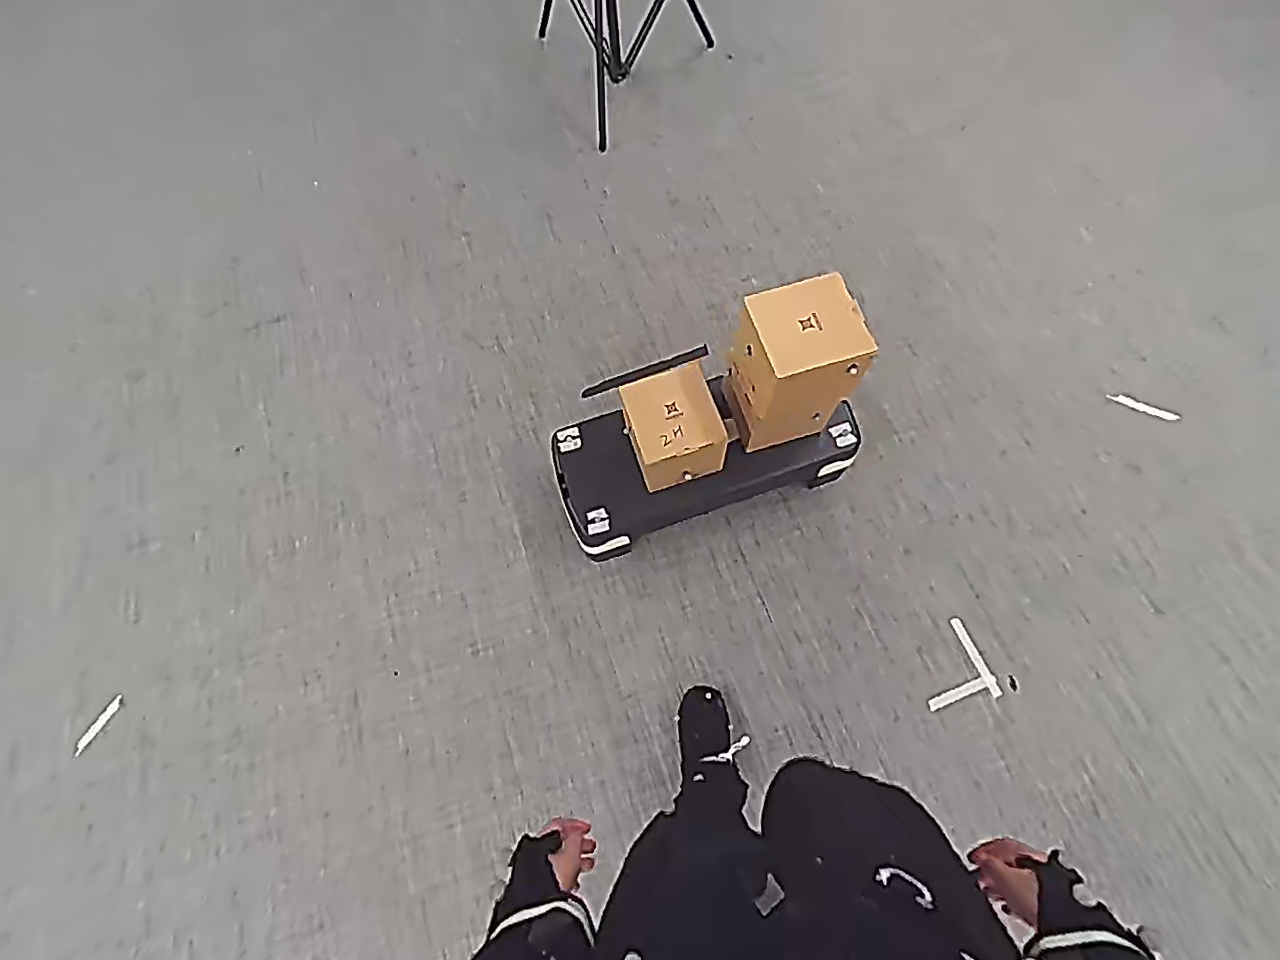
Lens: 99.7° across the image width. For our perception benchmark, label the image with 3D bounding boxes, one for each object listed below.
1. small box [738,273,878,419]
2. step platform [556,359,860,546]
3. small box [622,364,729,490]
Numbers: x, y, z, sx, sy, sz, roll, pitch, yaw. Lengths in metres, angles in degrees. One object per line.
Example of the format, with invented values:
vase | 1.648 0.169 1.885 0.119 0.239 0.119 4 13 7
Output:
small box | 0.283 -0.229 0.962 0.179 0.176 0.168 -16 71 -3
step platform | 0.151 -0.089 1.277 0.684 0.204 0.286 -20 71 -3
small box | 0.068 -0.103 1.103 0.168 0.176 0.179 -18 71 -2
